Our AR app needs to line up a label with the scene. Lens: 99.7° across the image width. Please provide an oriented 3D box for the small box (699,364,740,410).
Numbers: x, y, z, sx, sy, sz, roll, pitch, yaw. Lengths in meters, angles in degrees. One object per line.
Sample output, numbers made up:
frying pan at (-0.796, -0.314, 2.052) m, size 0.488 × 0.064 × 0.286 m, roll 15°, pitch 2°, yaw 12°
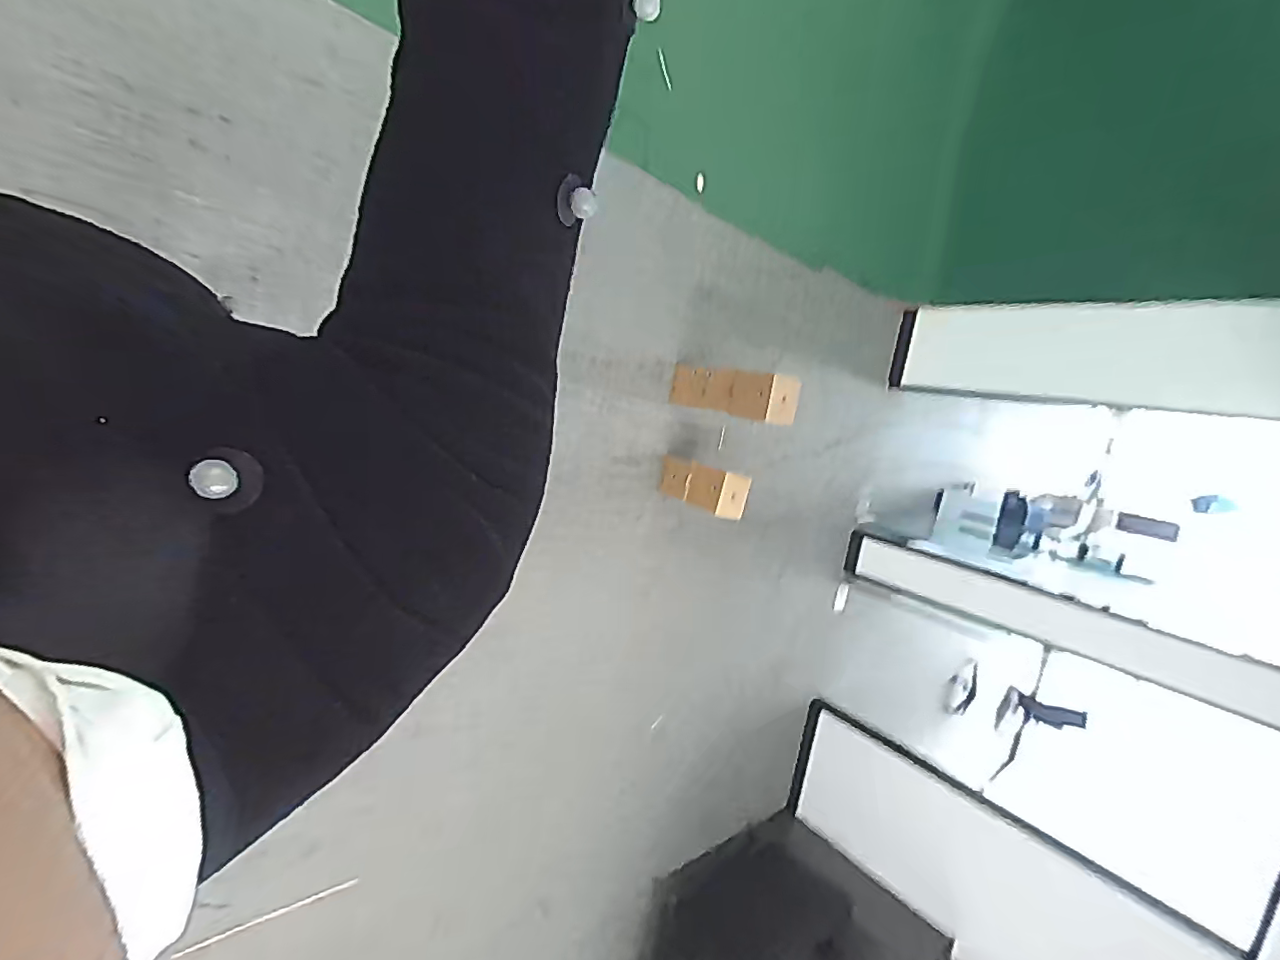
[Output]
small box at (0.348, -0.353, 2.081) m, size 0.179 × 0.176 × 0.168 m, roll 0°, pitch 103°, yaw -42°

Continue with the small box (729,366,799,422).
small box at (0.445, -0.312, 1.953) m, size 0.168 × 0.176 × 0.179 m, roll 2°, pitch 102°, yaw -41°

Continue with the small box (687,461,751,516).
small box at (0.312, 0.033, 2.161) m, size 0.168 × 0.176 × 0.179 m, roll 10°, pitch 95°, yaw -42°

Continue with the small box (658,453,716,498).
small box at (0.204, -0.012, 2.275) m, size 0.179 × 0.176 × 0.168 m, roll 13°, pitch 95°, yaw -41°
